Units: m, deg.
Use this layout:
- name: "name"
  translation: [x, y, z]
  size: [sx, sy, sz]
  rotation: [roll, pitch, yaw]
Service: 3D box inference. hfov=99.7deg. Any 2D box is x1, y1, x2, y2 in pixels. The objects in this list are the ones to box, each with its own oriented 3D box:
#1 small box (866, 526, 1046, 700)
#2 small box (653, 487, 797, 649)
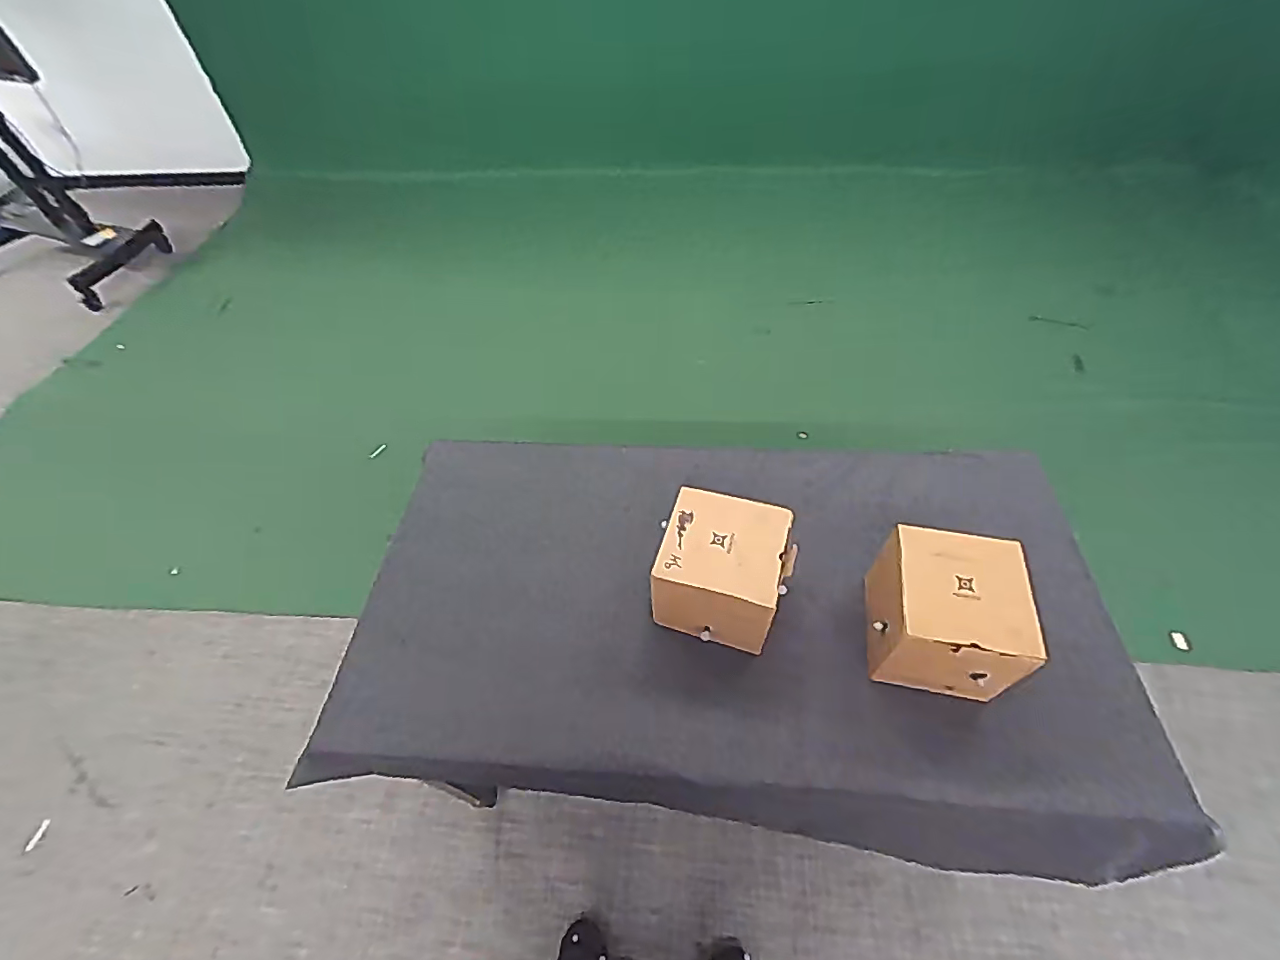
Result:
- name: "small box"
  translation: [0.436, 0.195, 0.780]
  size: [0.168, 0.176, 0.179]
  rotation: [10, 51, 9]
- name: "small box"
  translation: [0.128, 0.142, 0.840]
  size: [0.179, 0.176, 0.168]
  rotation: [14, 53, 13]
